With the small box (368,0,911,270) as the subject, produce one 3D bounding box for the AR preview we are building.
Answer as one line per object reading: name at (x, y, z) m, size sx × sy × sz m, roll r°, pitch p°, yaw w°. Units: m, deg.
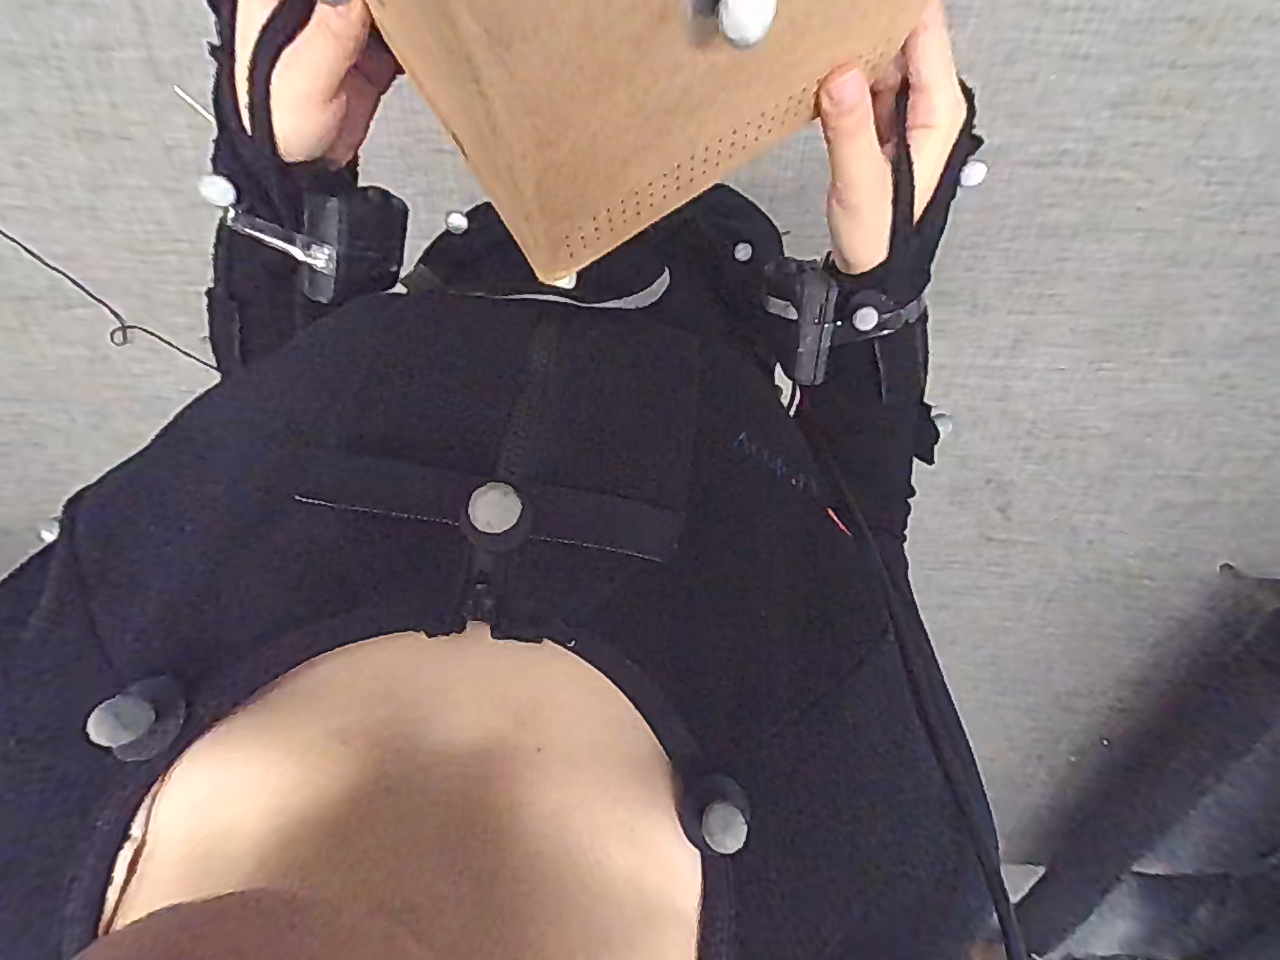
small box at (-0.009, -0.196, 0.154) m, size 0.179 × 0.176 × 0.168 m, roll -33°, pitch 89°, yaw -2°
